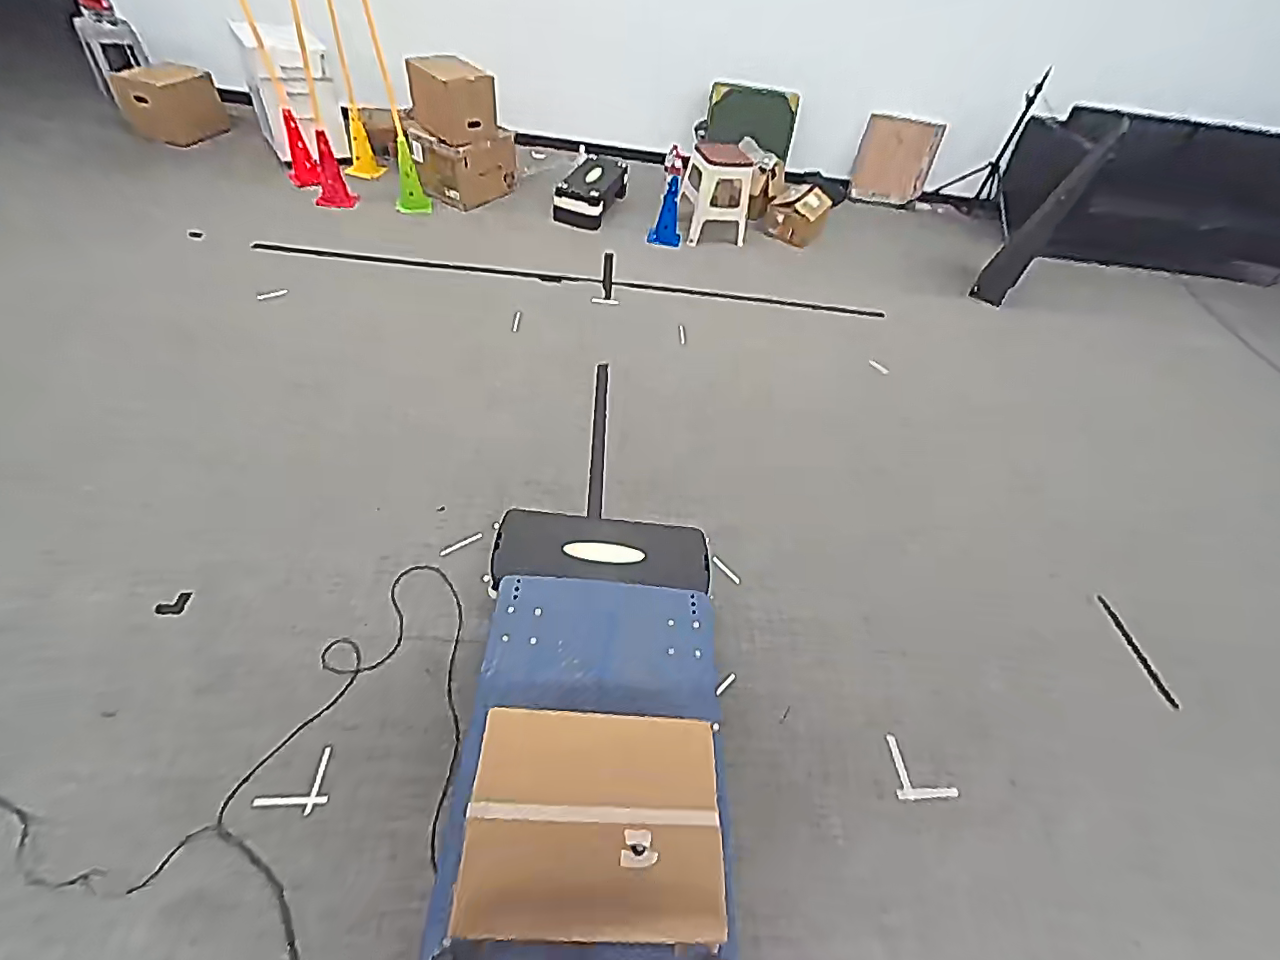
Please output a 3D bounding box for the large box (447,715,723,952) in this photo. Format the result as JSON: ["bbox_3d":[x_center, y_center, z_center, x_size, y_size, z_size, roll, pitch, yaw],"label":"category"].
[{"bbox_3d":[-0.098,0.643,0.975,0.408,0.320,0.320,7,49,-7],"label":"large box"}]
